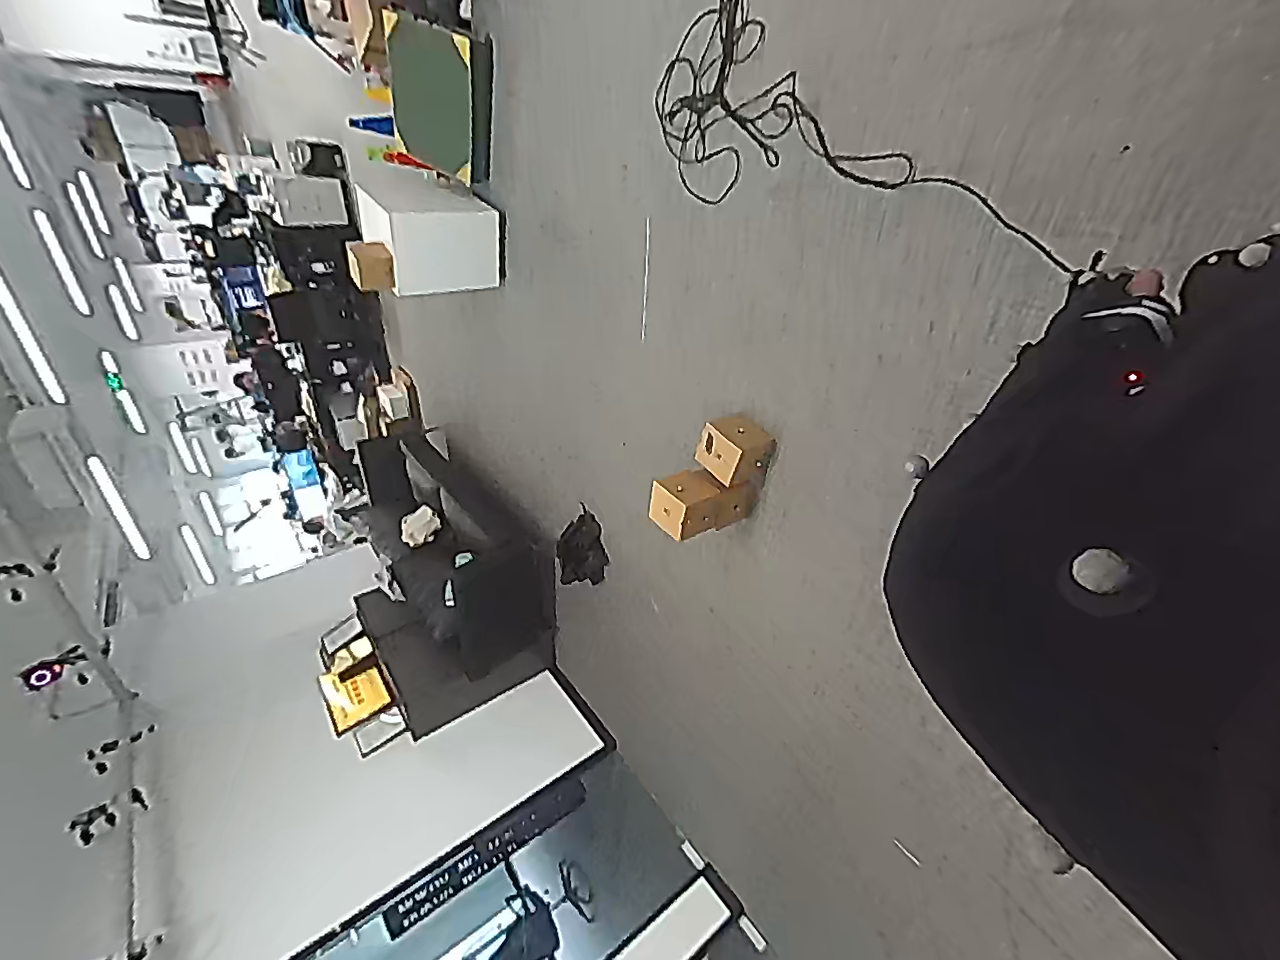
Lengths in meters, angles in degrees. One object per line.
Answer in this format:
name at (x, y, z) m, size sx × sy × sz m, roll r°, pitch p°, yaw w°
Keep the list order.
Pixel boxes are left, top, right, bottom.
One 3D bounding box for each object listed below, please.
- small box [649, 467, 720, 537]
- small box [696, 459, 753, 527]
small box at (0.159, 0.071, 1.932) m, size 0.179 × 0.176 × 0.168 m, roll 38°, pitch 135°, yaw 38°
small box at (0.295, 0.040, 2.019) m, size 0.179 × 0.176 × 0.168 m, roll 38°, pitch 136°, yaw 37°
